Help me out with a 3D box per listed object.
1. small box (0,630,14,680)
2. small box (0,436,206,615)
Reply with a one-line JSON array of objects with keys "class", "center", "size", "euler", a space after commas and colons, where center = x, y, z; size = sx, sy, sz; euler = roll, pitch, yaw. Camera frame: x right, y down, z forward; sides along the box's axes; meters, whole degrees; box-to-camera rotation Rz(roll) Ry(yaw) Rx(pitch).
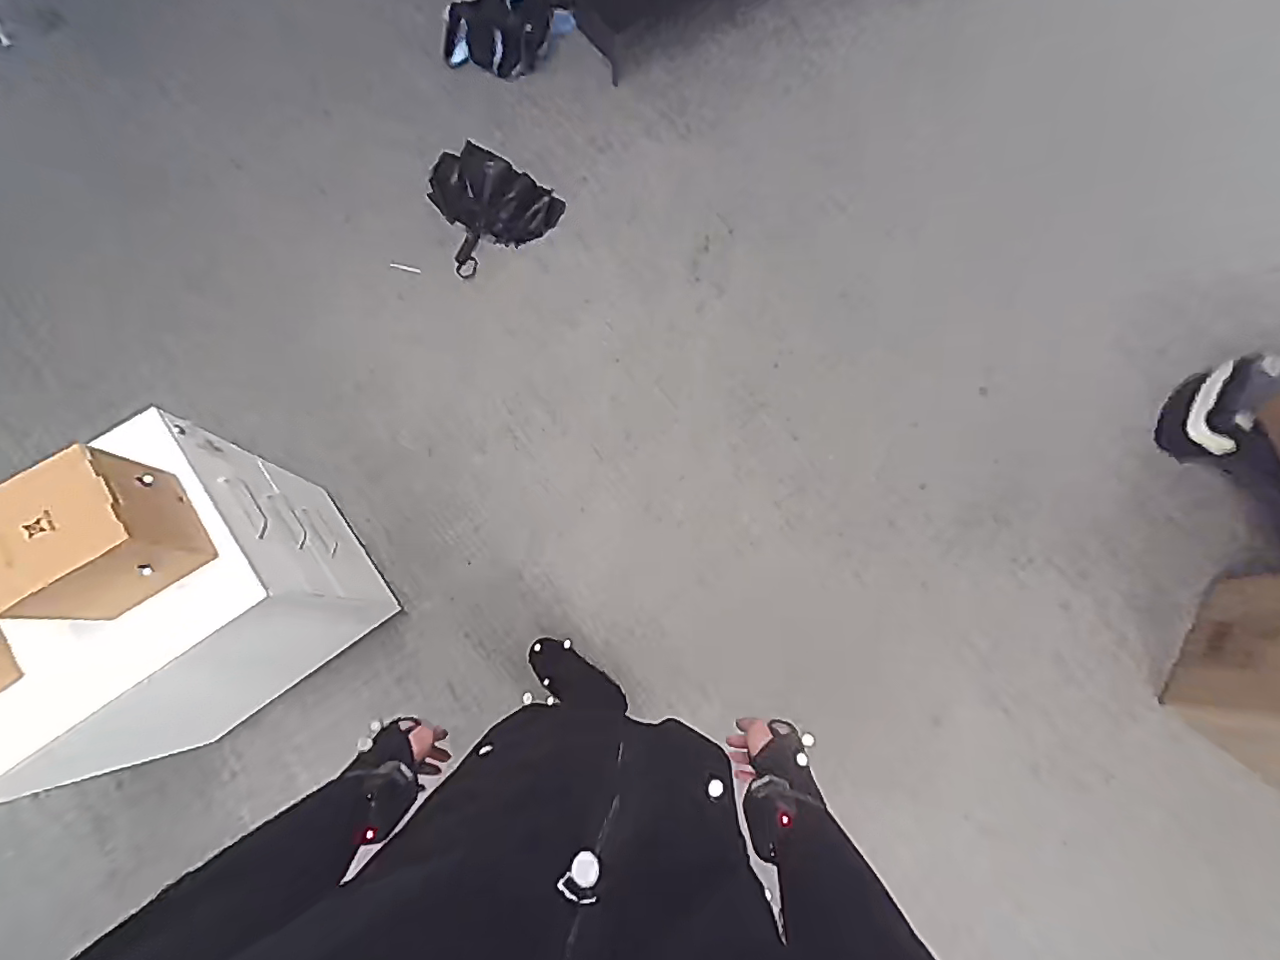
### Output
[{"class": "small box", "center": [-1.001, 0.238, 0.693], "size": [0.179, 0.176, 0.168], "euler": [-36, 81, -13]}, {"class": "small box", "center": [-0.761, 0.070, 0.755], "size": [0.179, 0.176, 0.168], "euler": [-35, 79, -10]}]
